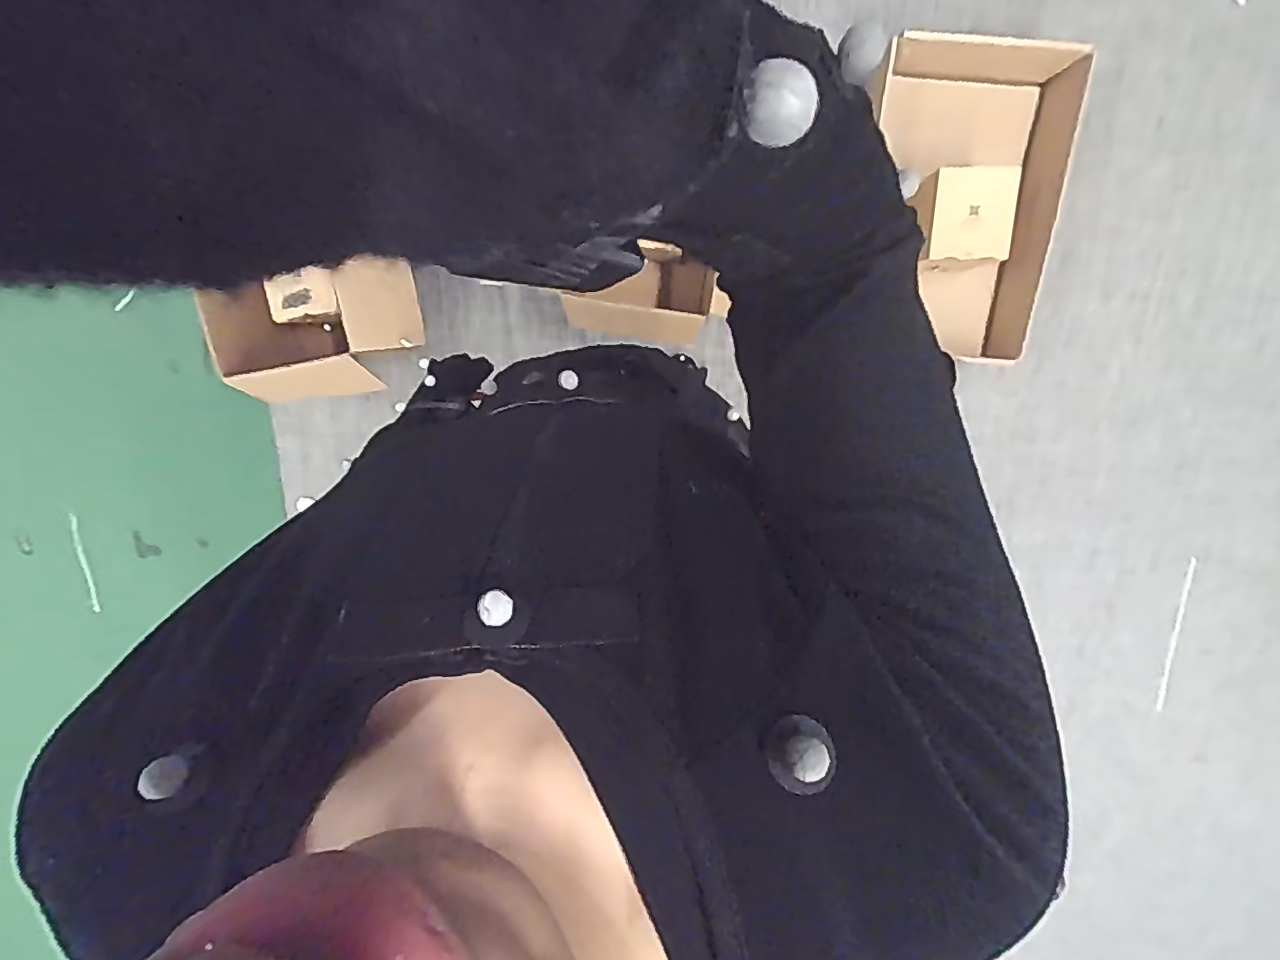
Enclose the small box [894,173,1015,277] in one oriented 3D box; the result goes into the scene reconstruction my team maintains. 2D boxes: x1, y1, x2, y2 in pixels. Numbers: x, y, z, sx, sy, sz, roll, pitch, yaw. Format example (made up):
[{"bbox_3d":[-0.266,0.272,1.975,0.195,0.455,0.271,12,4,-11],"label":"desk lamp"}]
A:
[{"bbox_3d":[0.679,-0.553,1.189,0.168,0.176,0.179,1,103,2],"label":"small box"}]
